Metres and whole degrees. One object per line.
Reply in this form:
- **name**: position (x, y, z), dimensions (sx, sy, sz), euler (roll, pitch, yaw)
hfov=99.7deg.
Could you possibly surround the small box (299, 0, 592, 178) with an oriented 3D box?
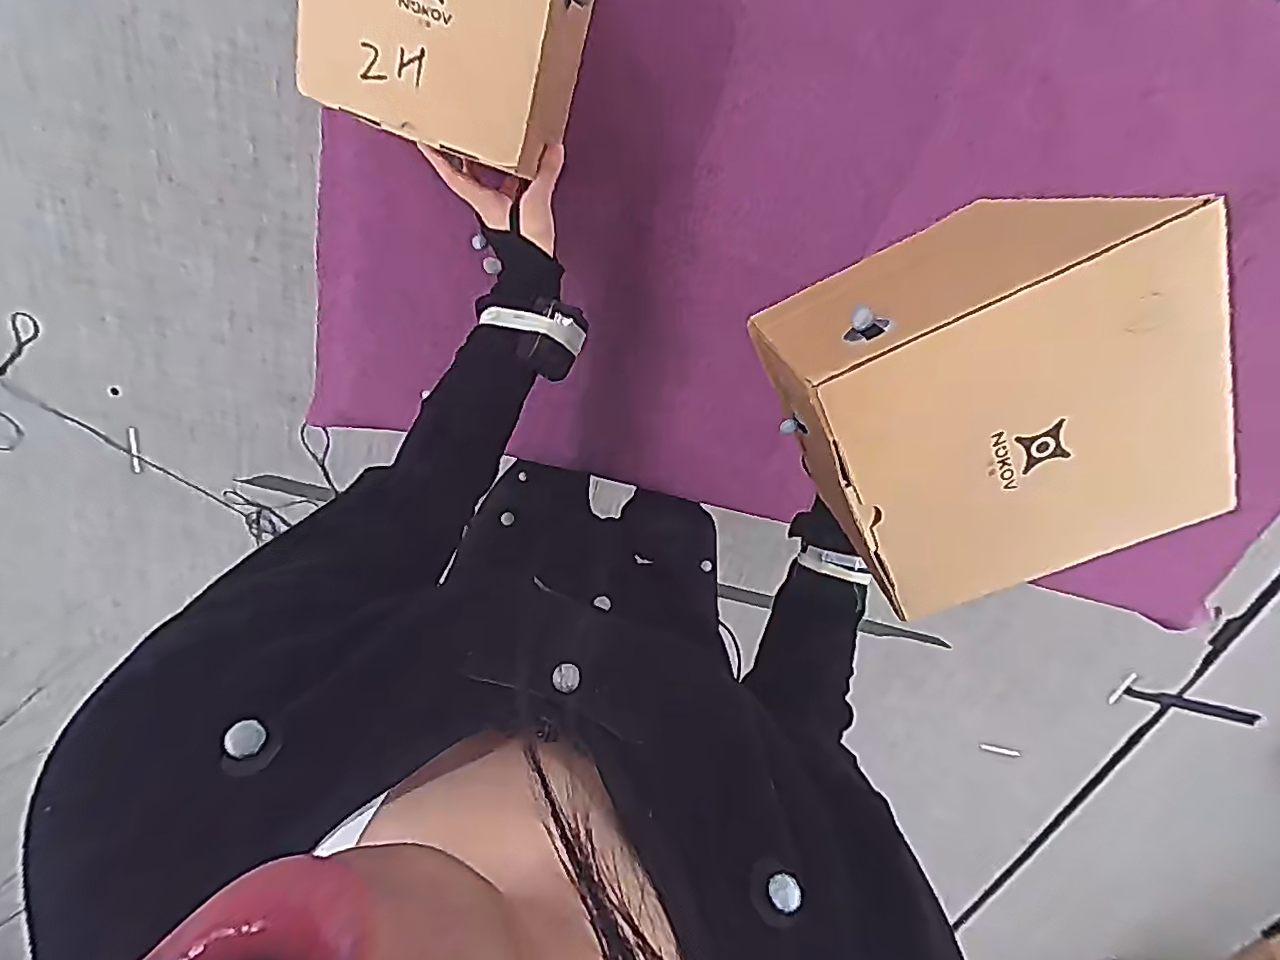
- **small box**: position (-0.141, -0.369, 0.438), dimensions (0.168, 0.176, 0.179), euler (17, 115, -7)

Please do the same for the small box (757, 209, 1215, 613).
- **small box**: position (0.196, -0.055, 0.346), dimensions (0.179, 0.176, 0.168), euler (-25, 115, 13)
